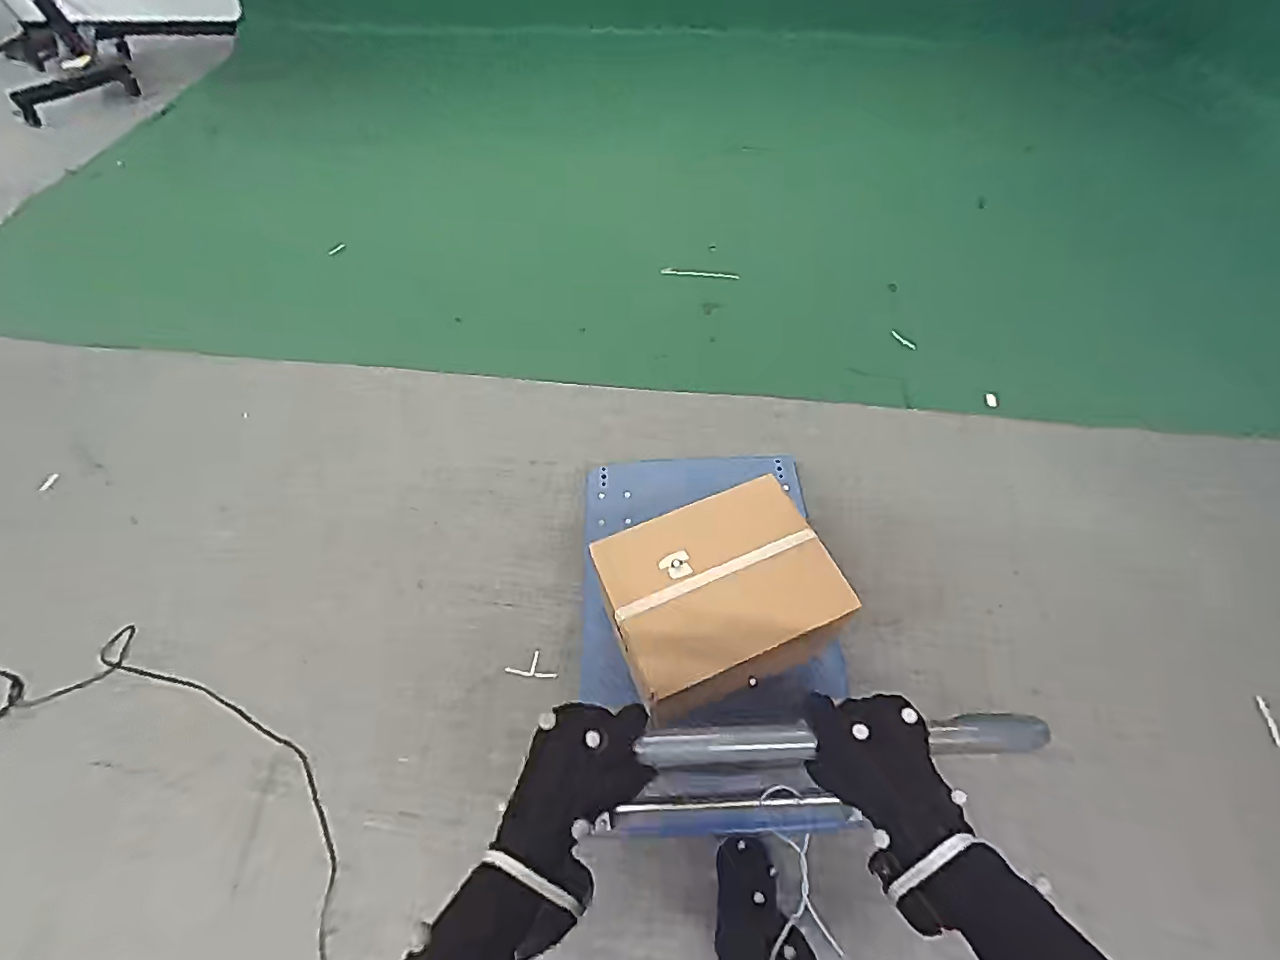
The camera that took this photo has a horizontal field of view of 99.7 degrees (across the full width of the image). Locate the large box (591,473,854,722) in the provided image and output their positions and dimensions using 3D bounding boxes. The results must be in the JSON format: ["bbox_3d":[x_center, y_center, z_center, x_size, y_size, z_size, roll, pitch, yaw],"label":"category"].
[{"bbox_3d":[0.151,0.250,1.124,0.408,0.320,0.320,-21,58,-10],"label":"large box"}]
